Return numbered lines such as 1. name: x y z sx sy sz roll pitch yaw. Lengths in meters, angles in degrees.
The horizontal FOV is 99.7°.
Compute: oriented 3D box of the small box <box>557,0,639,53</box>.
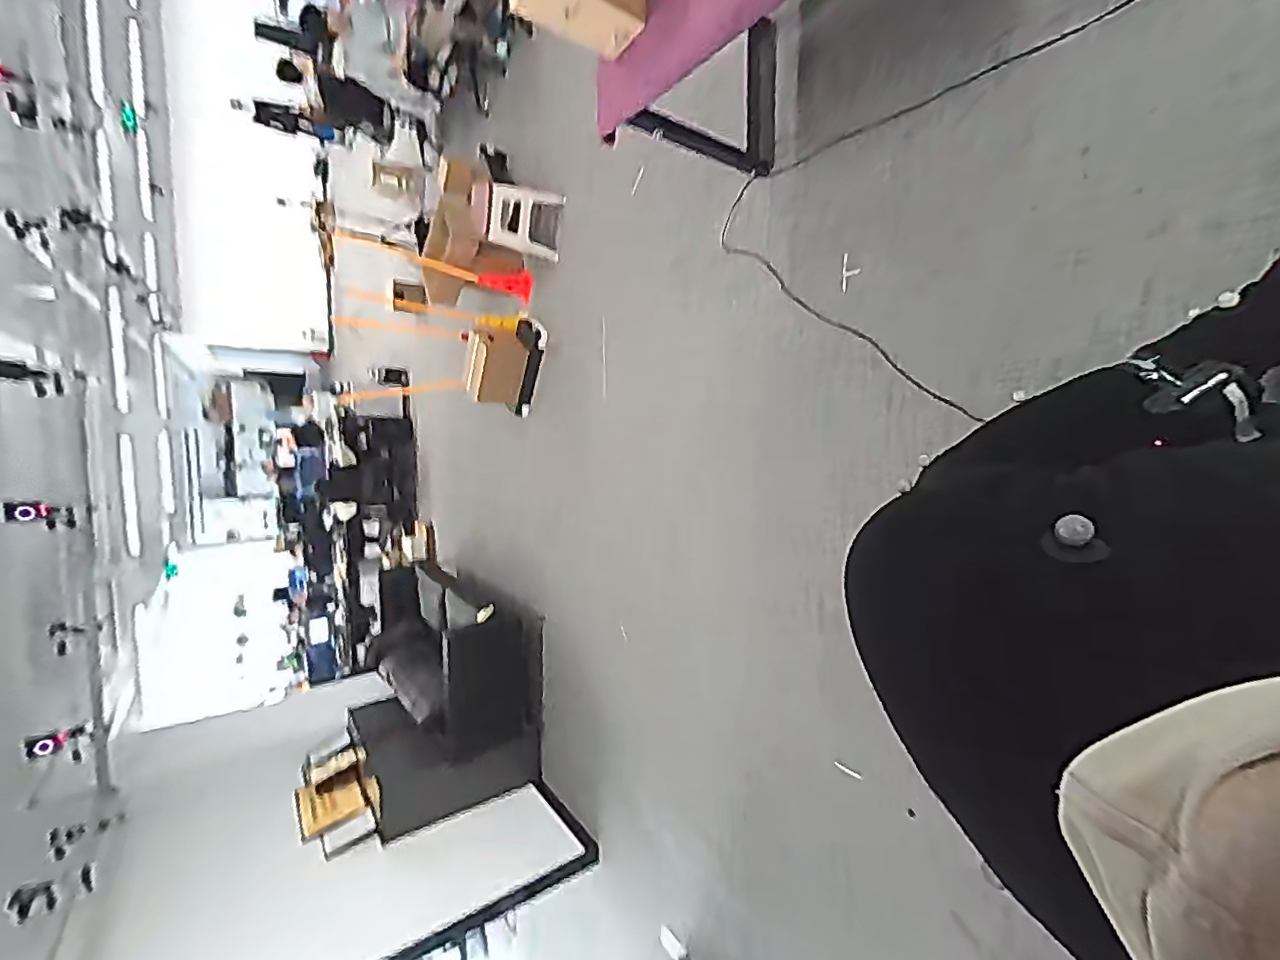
1. small box: -0.116 -1.339 1.487 0.168 0.176 0.179 4 97 53
